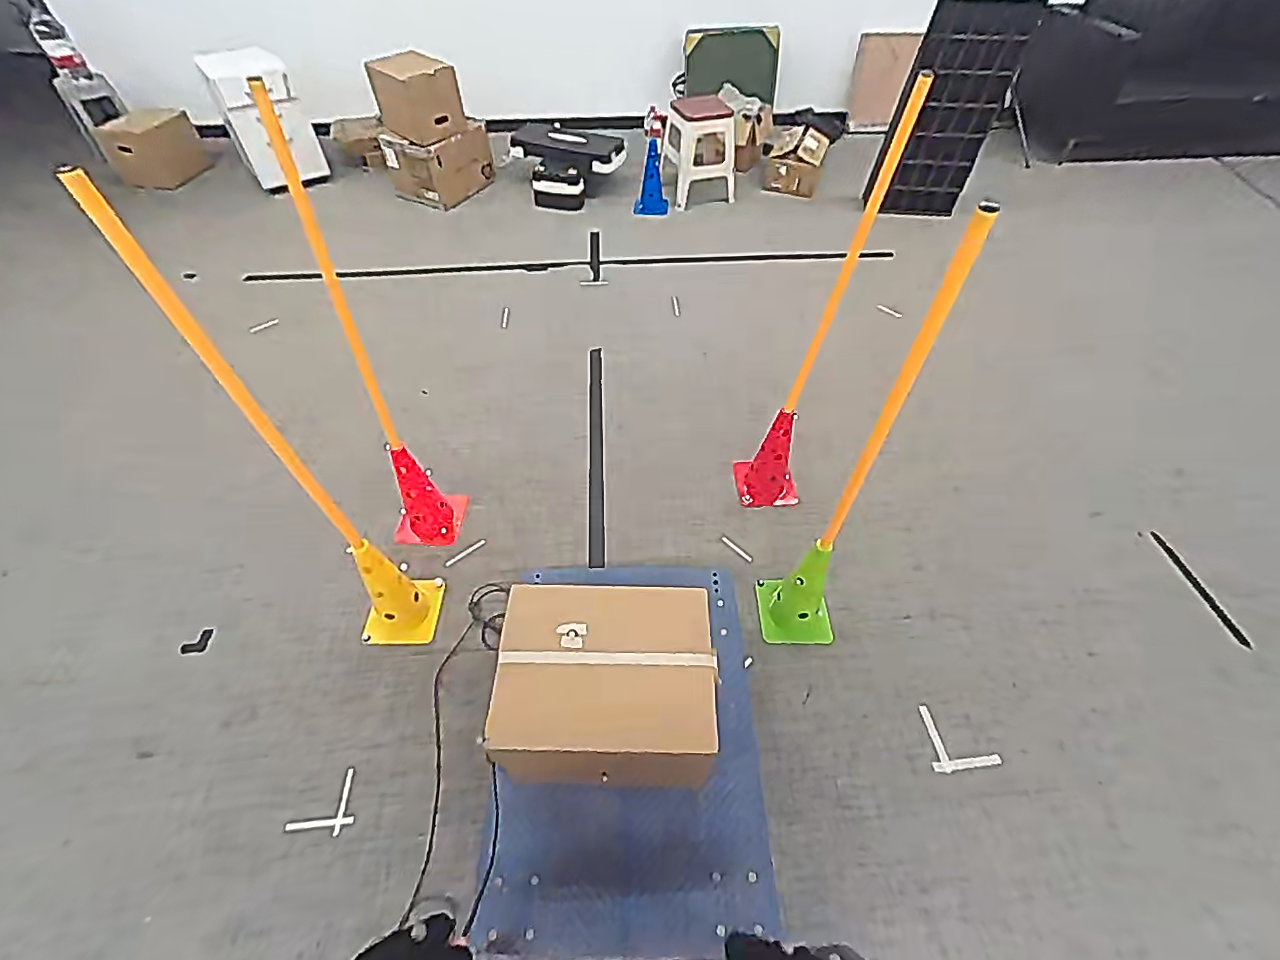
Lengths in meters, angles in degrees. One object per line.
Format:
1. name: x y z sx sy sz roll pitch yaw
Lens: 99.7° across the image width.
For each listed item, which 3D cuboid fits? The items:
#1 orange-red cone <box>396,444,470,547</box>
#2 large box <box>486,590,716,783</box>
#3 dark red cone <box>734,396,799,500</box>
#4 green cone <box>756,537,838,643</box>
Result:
1. orange-red cone: -0.678 0.022 1.665 0.198 0.360 0.199 4 49 2
2. large box: -0.063 0.439 1.134 0.408 0.320 0.320 1 51 1
3. dark red cone: 0.444 -0.112 1.753 0.201 0.394 0.202 -2 51 -4
4. green cone: 0.455 0.273 1.458 0.202 0.368 0.200 1 50 -1
